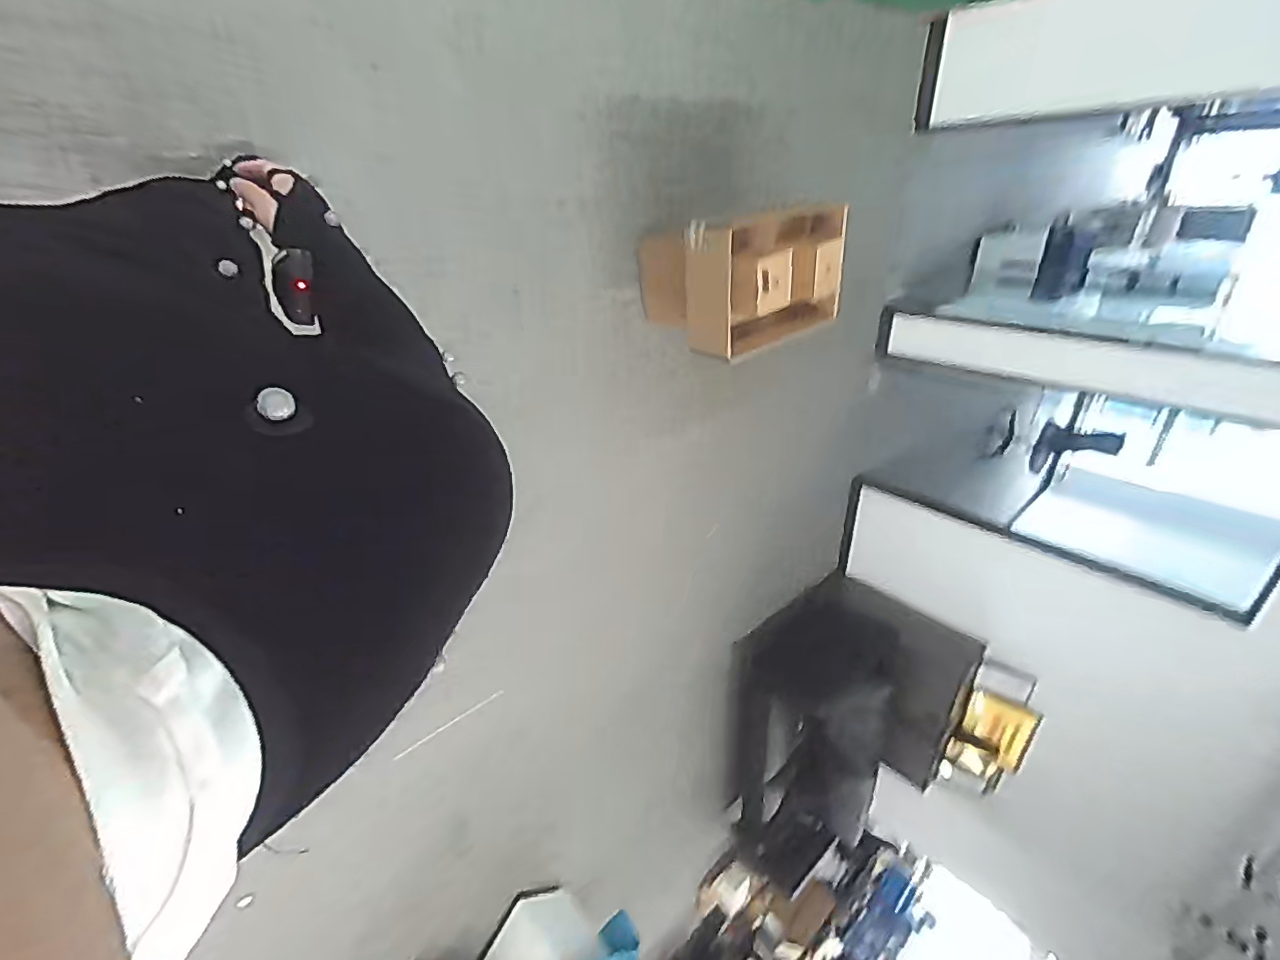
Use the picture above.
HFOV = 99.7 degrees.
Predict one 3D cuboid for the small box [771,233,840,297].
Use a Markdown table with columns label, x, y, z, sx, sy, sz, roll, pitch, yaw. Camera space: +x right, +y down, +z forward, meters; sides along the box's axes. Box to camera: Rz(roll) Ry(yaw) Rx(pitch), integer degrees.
| label | x | y | z | sx | sy | sz | roll | pitch | yaw |
| --- | --- | --- | --- | --- | --- | --- | --- | --- | --- |
| small box | 0.569 | -0.748 | 1.872 | 0.168 | 0.176 | 0.179 | -32 | 130 | -31 |
